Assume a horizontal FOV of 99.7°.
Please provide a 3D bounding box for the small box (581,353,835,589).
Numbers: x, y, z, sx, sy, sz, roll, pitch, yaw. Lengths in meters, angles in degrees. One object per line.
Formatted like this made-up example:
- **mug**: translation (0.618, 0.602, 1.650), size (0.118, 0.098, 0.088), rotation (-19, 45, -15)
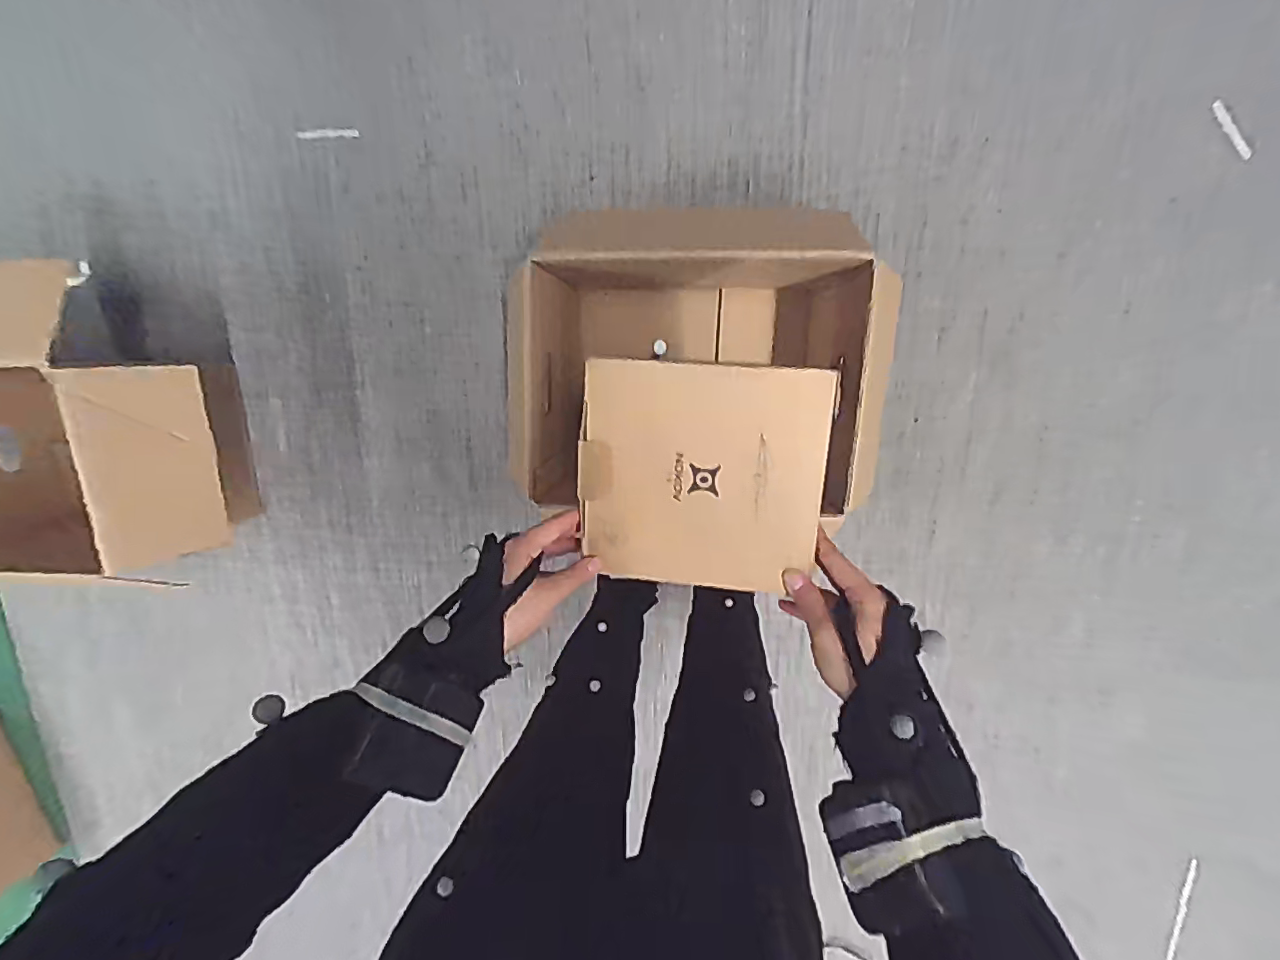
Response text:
- **small box**: translation (0.055, -0.022, 0.469), size (0.179, 0.176, 0.168), rotation (4, 104, 8)
